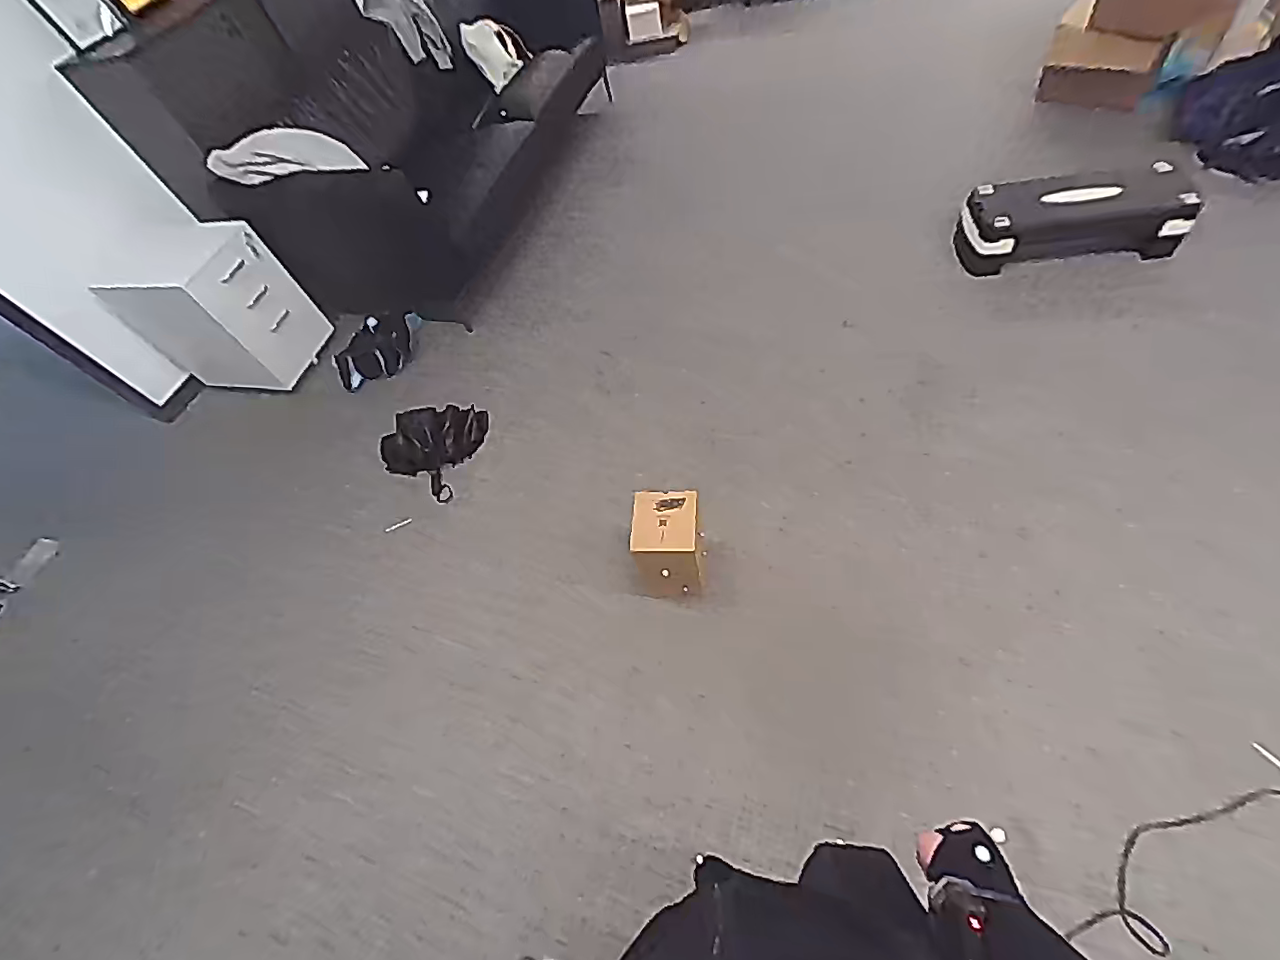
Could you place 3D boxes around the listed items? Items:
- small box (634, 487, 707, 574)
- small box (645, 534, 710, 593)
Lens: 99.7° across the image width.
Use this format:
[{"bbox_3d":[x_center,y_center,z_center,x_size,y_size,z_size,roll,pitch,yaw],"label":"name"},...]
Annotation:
[{"bbox_3d":[0.088,0.136,1.435,0.168,0.176,0.179,-2,59,12],"label":"small box"},{"bbox_3d":[0.115,0.220,1.573,0.168,0.176,0.179,-2,56,11],"label":"small box"}]
